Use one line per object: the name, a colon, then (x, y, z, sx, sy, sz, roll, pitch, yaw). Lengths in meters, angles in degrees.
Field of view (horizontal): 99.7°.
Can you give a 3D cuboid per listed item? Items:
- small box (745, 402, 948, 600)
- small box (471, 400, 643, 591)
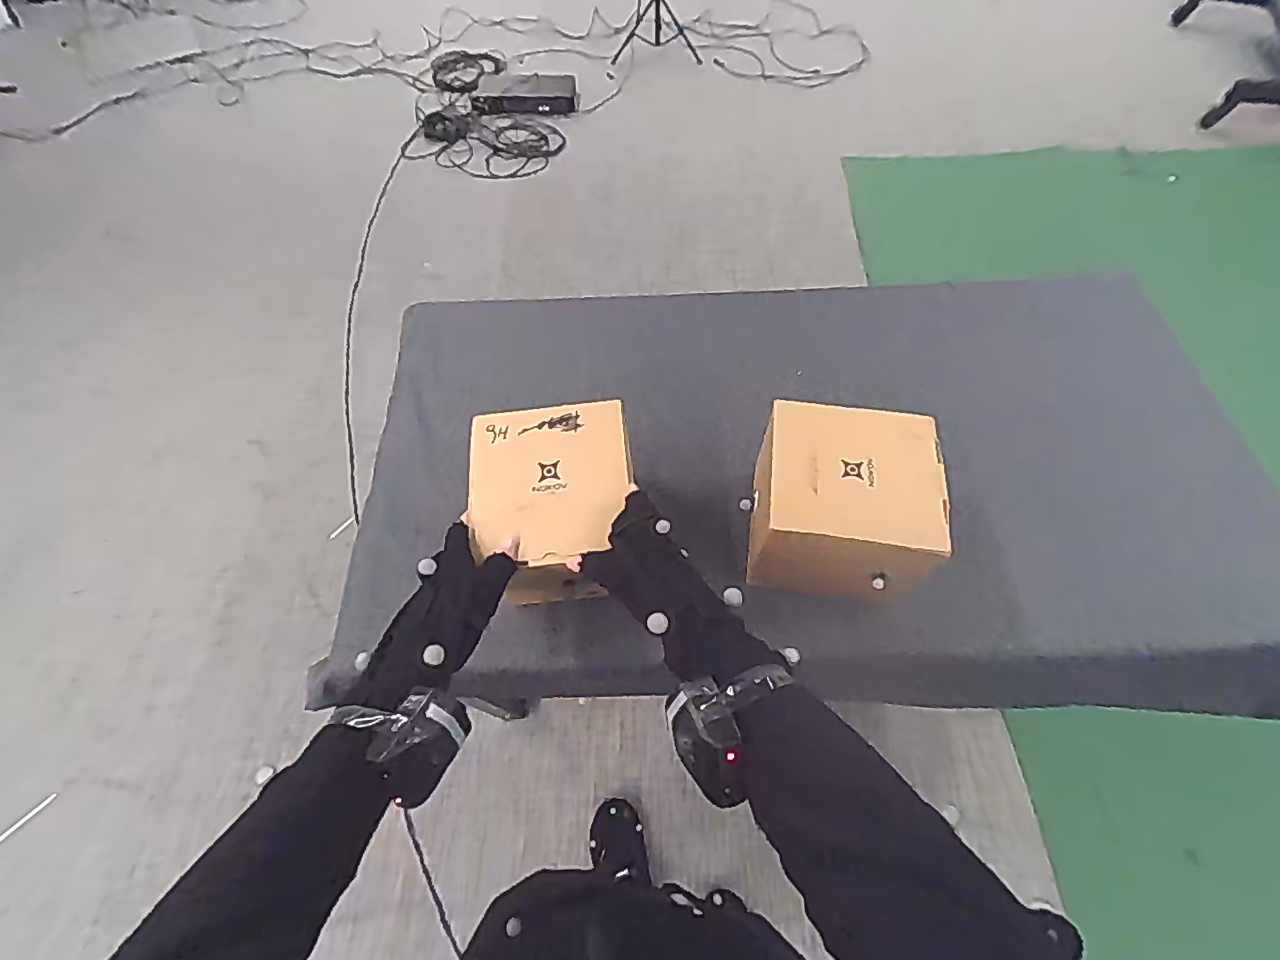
small box: (0.228, 0.032, 0.637, 0.179, 0.176, 0.168, 7, 61, 6)
small box: (-0.087, 0.029, 0.635, 0.168, 0.176, 0.179, -5, 66, 1)
